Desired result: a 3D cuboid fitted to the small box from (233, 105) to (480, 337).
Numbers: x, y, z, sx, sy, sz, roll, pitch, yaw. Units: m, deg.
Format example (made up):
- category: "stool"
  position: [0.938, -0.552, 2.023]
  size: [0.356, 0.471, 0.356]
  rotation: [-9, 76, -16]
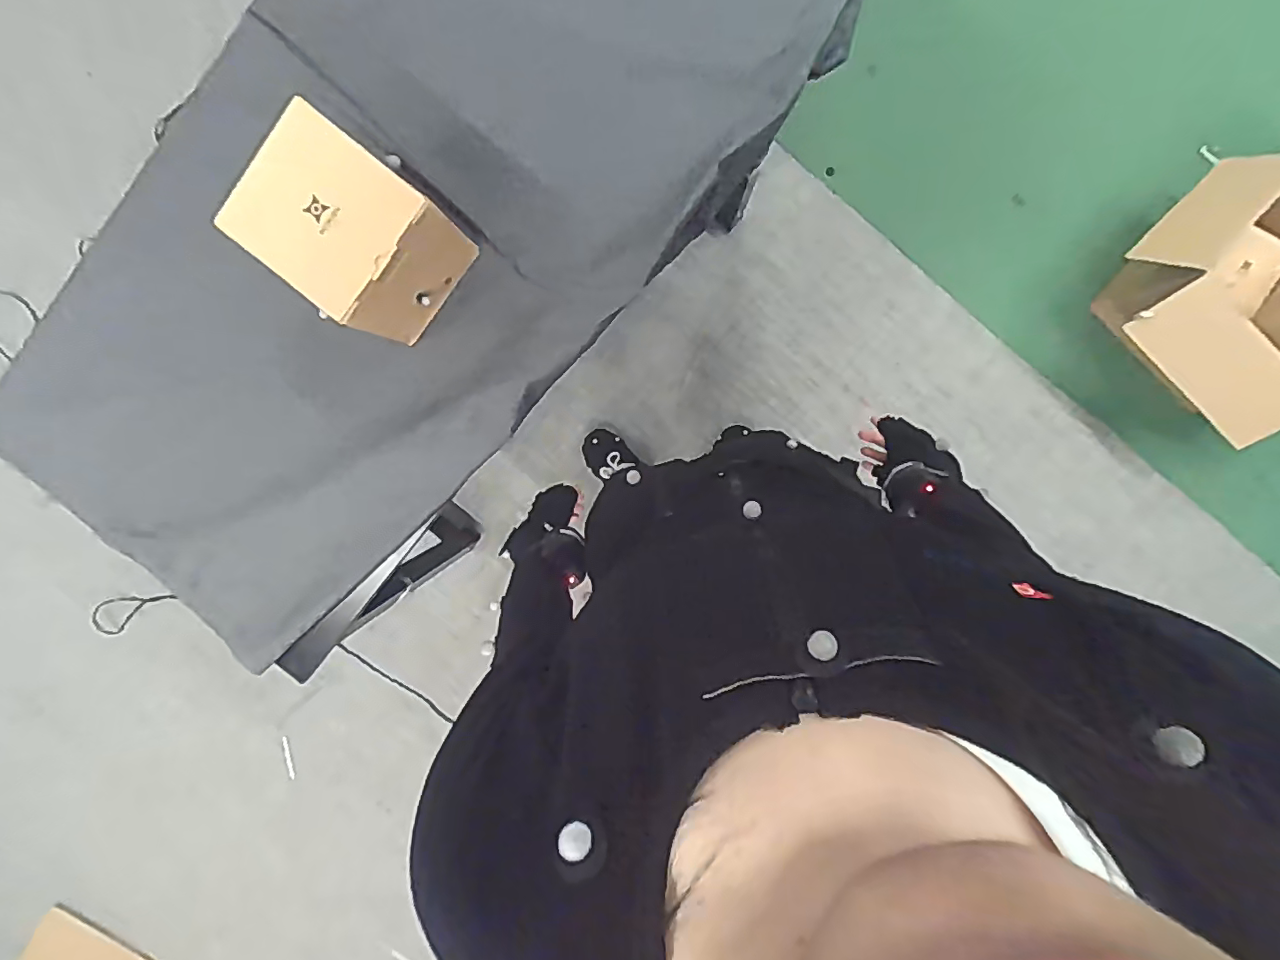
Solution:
- category: "small box"
  position: [-0.335, -0.300, 0.675]
  size: [0.179, 0.176, 0.168]
  rotation: [38, 96, -3]
